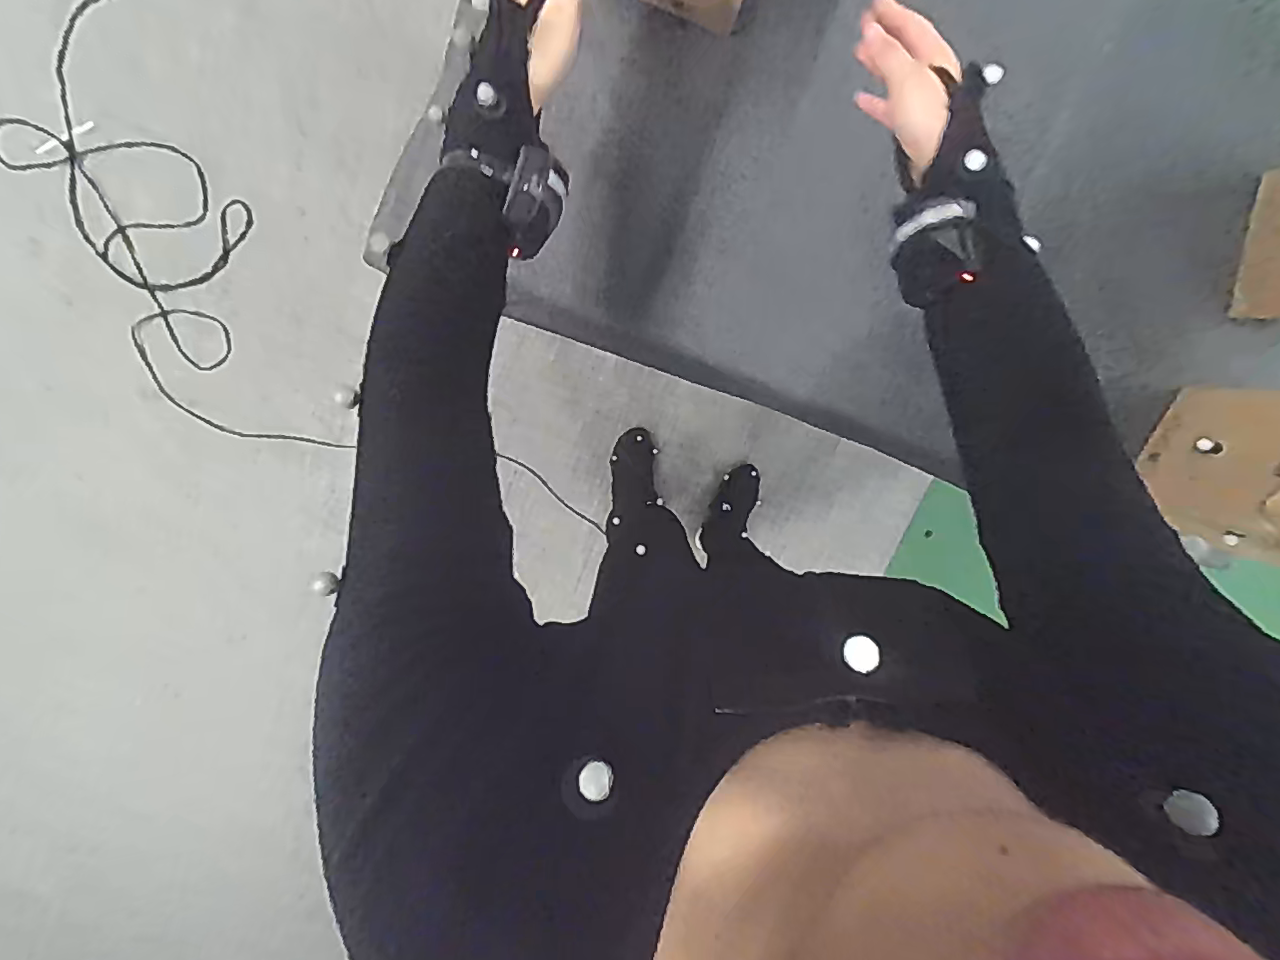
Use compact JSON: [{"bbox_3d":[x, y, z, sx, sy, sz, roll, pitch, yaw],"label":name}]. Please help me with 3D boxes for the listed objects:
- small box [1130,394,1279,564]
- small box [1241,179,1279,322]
[{"bbox_3d":[0.777,0.004,0.663,0.179,0.176,0.168,26,97,-9],"label":"small box"},{"bbox_3d":[0.855,-0.272,0.607,0.168,0.176,0.179,-1,105,-1],"label":"small box"}]
